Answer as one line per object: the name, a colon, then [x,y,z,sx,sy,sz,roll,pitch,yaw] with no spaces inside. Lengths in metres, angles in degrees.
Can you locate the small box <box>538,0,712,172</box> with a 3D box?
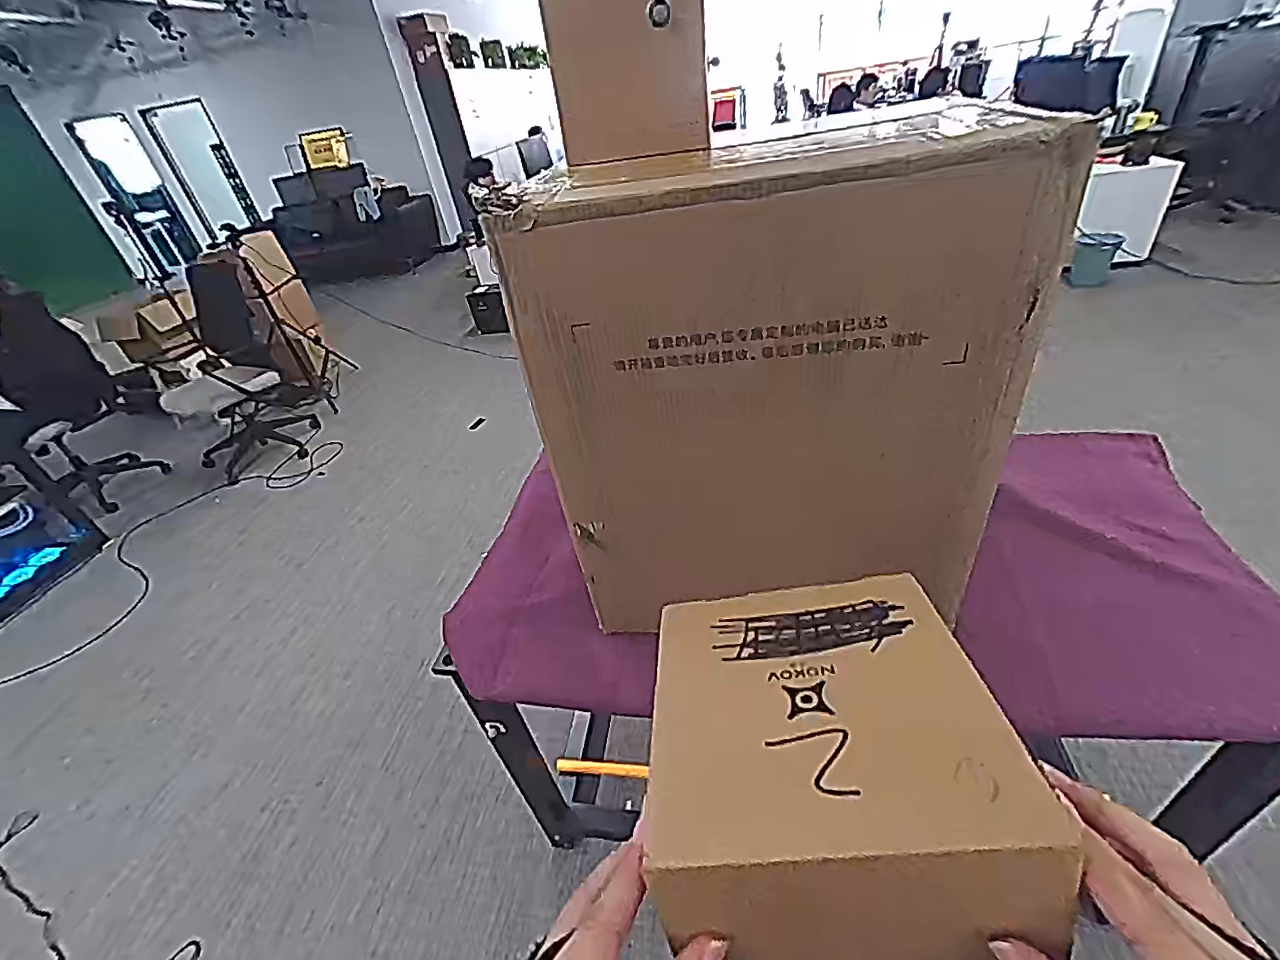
small box: [-0.003,-0.489,0.655,0.179,0.176,0.168,-2,36,10]
